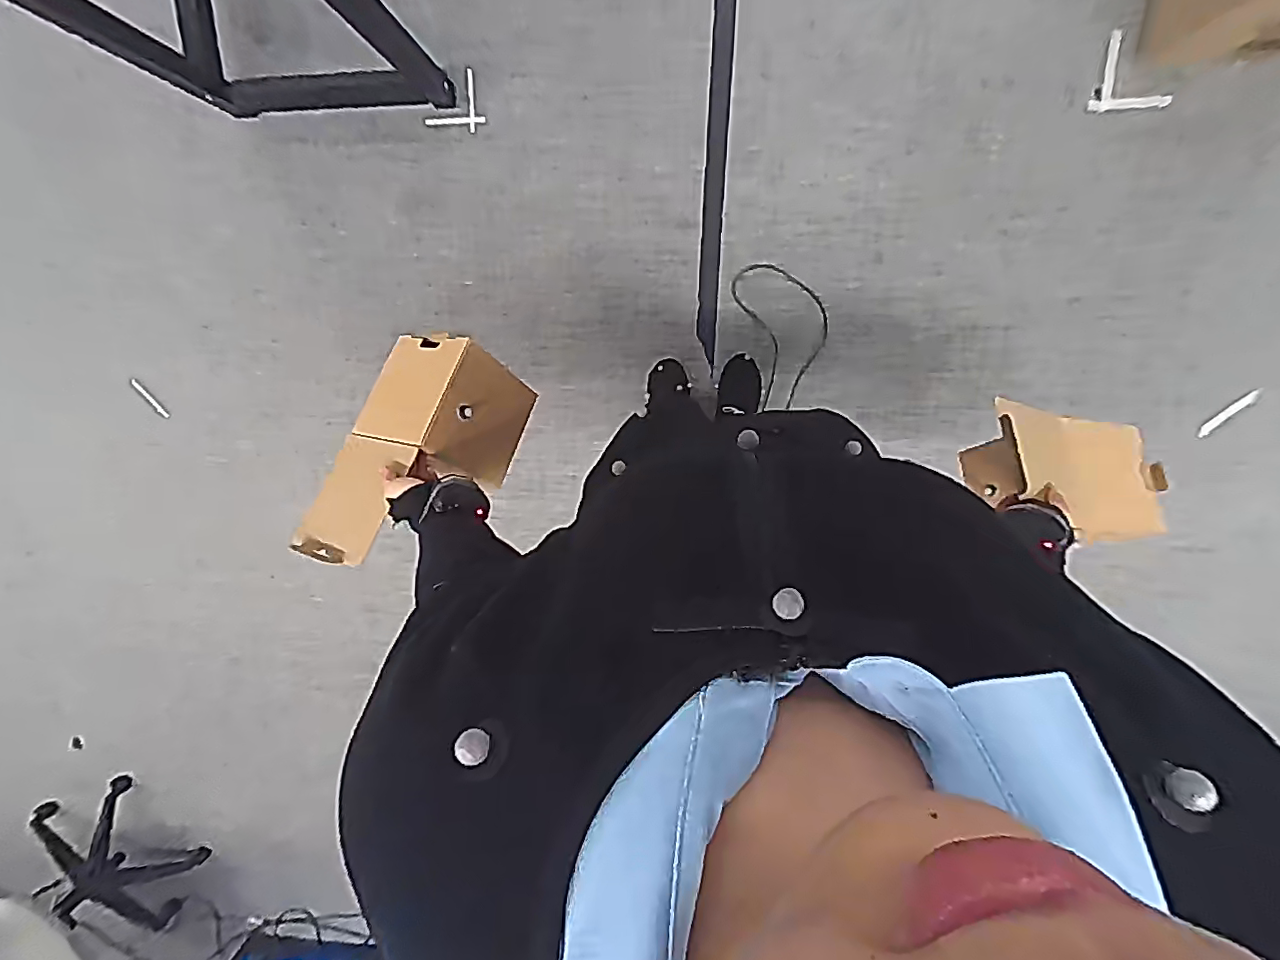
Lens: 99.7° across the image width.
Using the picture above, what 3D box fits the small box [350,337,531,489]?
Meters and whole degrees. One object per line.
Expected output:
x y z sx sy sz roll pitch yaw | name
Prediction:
-0.299 -0.101 0.840 0.168 0.176 0.179 10 73 30 | small box
